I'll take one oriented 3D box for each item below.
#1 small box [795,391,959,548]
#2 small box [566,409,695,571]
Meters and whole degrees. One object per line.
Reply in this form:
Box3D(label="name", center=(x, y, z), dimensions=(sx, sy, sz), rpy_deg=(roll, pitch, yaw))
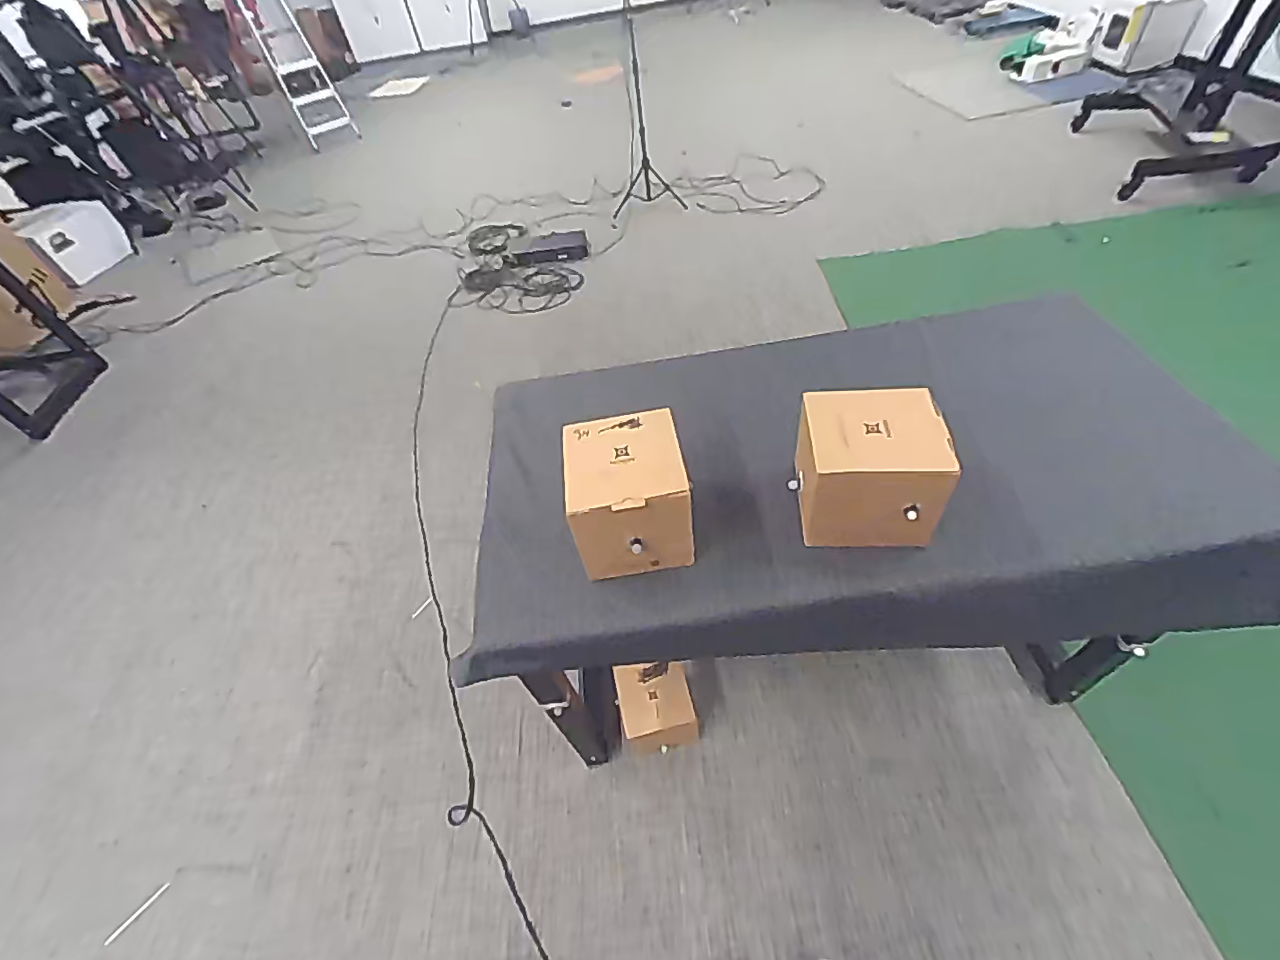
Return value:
Box3D(label="small box", center=(0.332, -0.012, 0.799), dimensions=(0.179, 0.176, 0.168), rpy_deg=(-2, 47, 9))
Box3D(label="small box", center=(-0.013, 0.023, 0.818), dimensions=(0.168, 0.176, 0.179), rpy_deg=(-9, 47, 0))
